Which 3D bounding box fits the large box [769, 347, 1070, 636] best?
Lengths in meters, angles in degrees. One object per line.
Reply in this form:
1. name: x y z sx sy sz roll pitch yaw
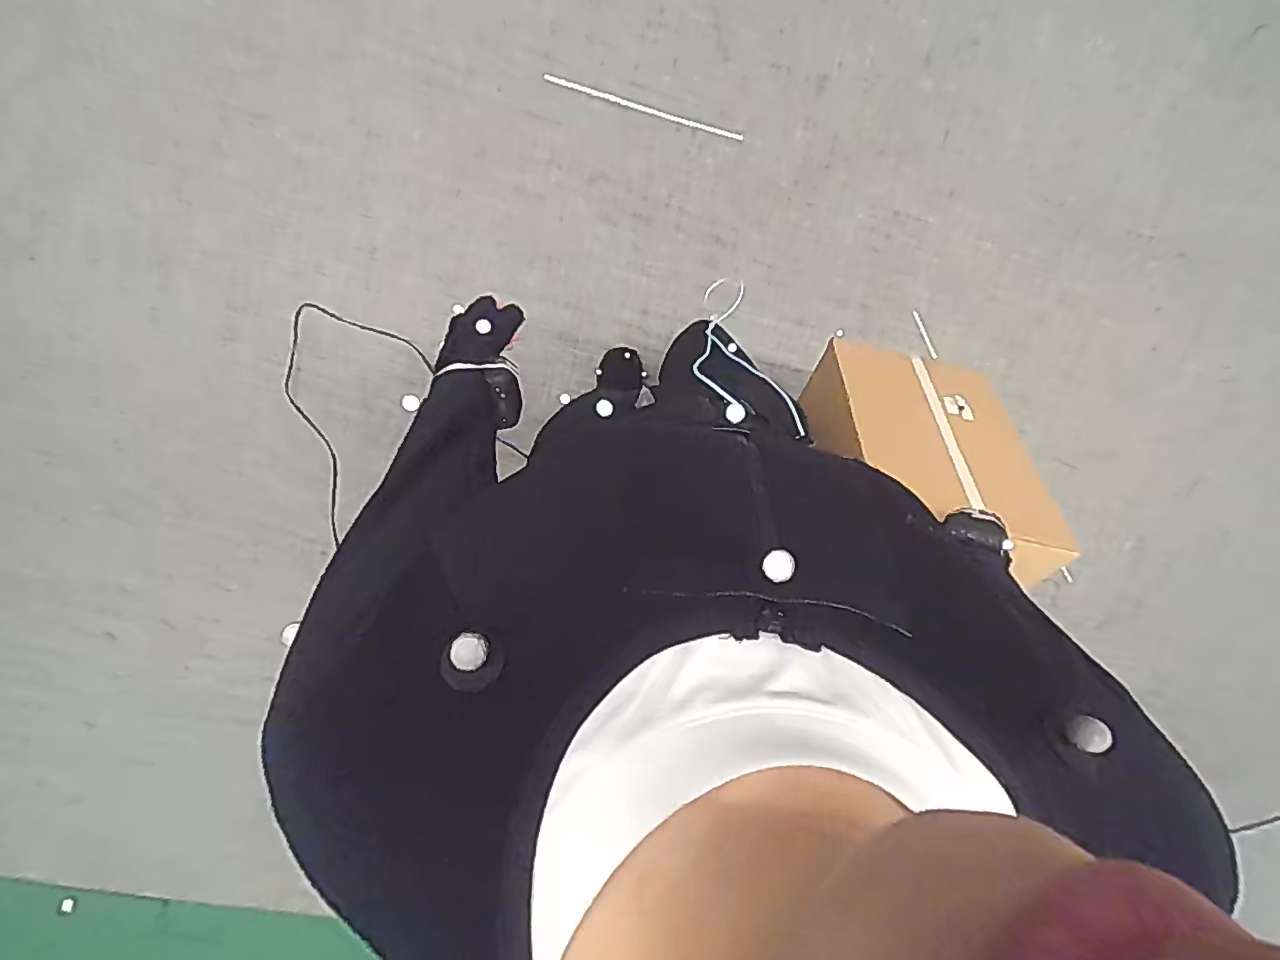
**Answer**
1. large box: 0.451 0.024 0.993 0.320 0.408 0.320 12 138 -7
